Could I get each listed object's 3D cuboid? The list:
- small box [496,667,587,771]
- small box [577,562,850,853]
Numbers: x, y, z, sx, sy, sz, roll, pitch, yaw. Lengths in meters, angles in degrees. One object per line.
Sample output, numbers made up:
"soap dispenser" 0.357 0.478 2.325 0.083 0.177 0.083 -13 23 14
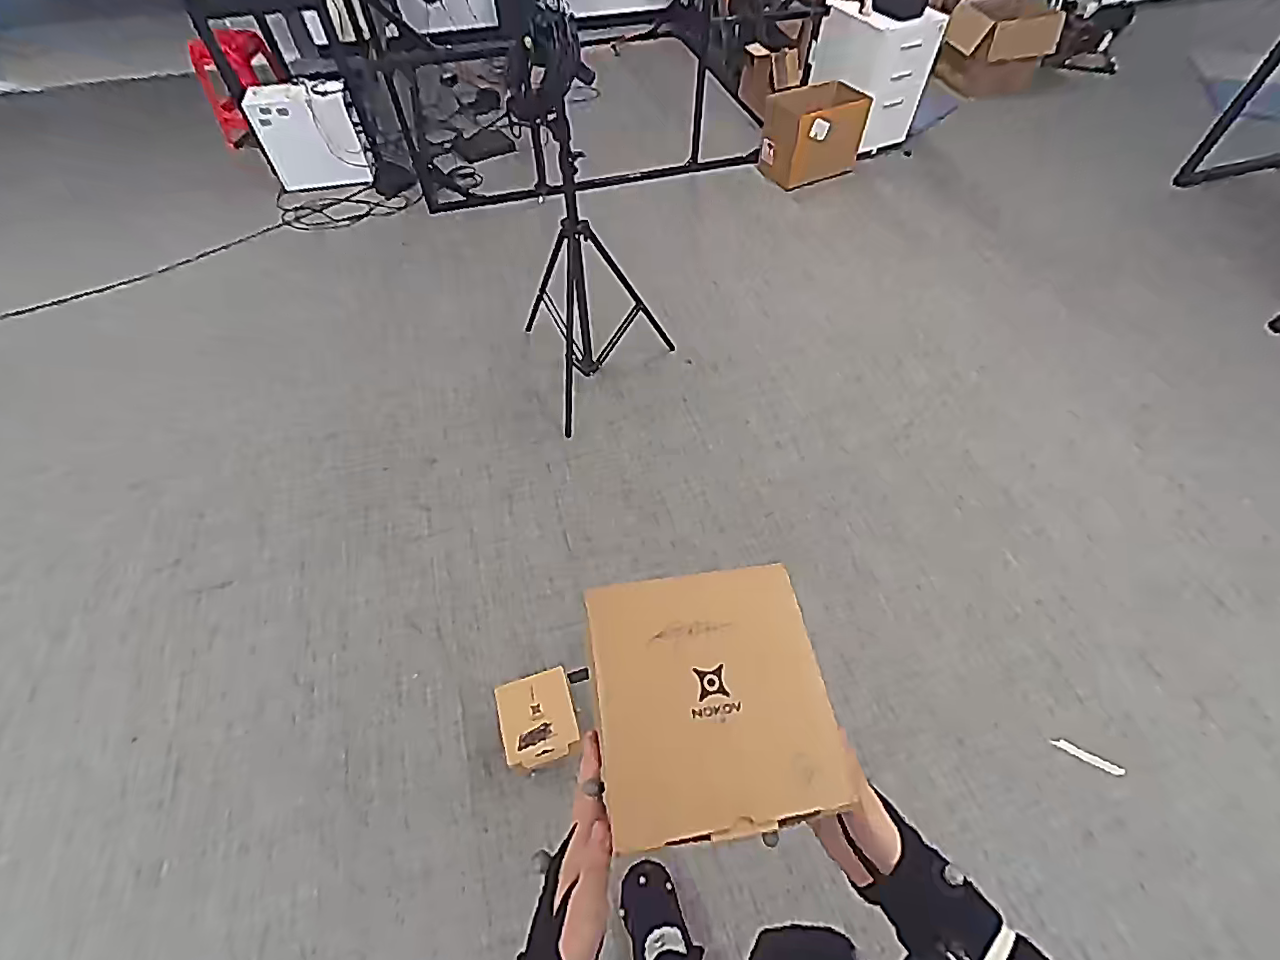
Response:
"small box" -0.230 0.577 1.290 0.168 0.176 0.179 -16 56 -10
"small box" 0.040 0.190 0.453 0.168 0.176 0.179 -6 57 -10
